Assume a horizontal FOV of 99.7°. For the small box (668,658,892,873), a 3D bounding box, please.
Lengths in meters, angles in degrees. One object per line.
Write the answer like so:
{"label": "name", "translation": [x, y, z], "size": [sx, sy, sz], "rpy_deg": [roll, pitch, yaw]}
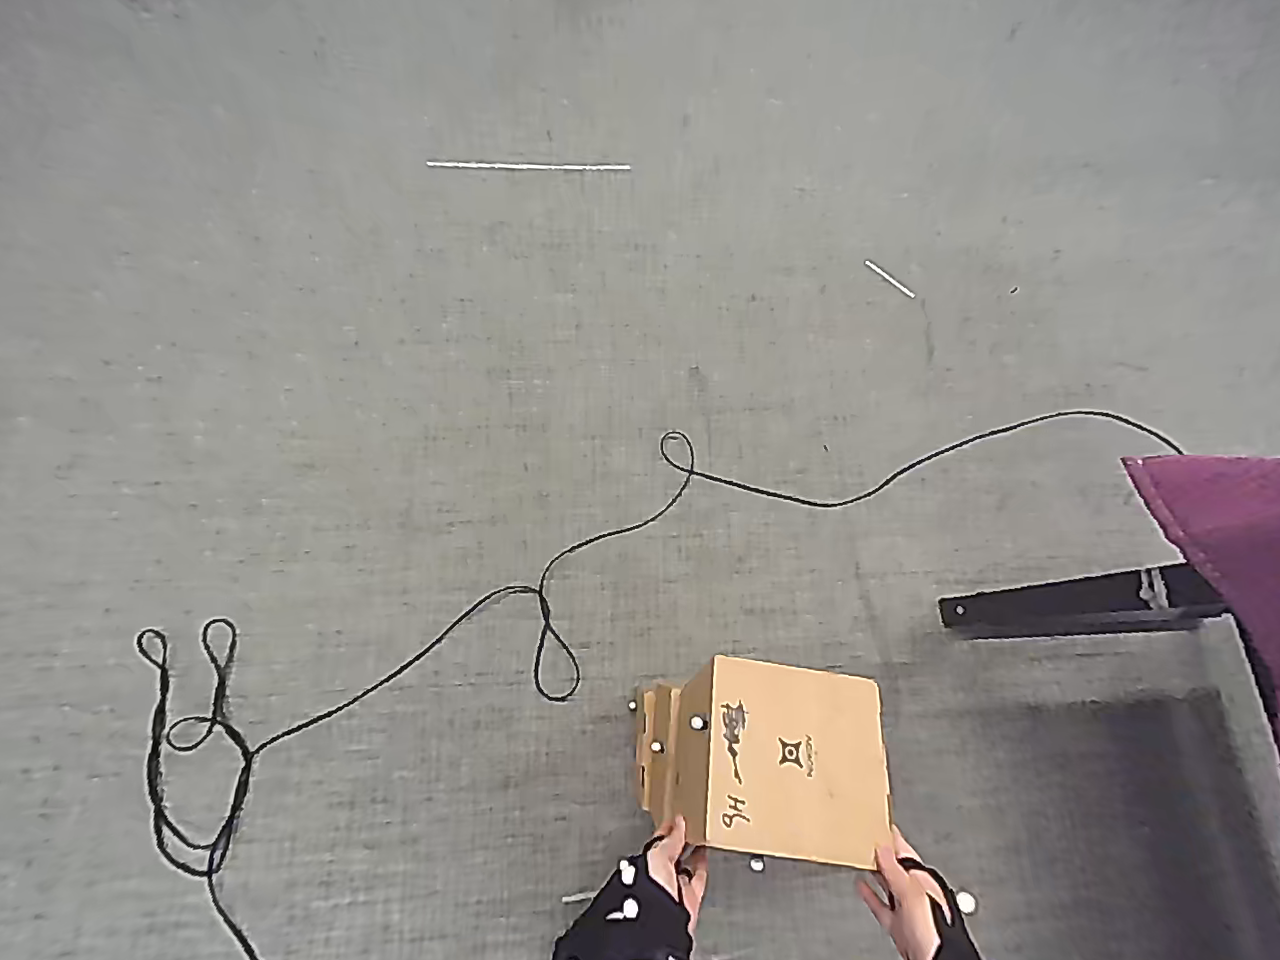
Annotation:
{"label": "small box", "translation": [0.137, 0.305, 0.582], "size": [0.179, 0.176, 0.168], "rpy_deg": [10, 58, -4]}

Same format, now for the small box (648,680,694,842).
{"label": "small box", "translation": [0.104, 0.377, 0.747], "size": [0.168, 0.176, 0.179], "rpy_deg": [6, 73, -3]}

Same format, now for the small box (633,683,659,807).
{"label": "small box", "translation": [0.082, 0.433, 0.901], "size": [0.179, 0.176, 0.168], "rpy_deg": [3, 73, -5]}
